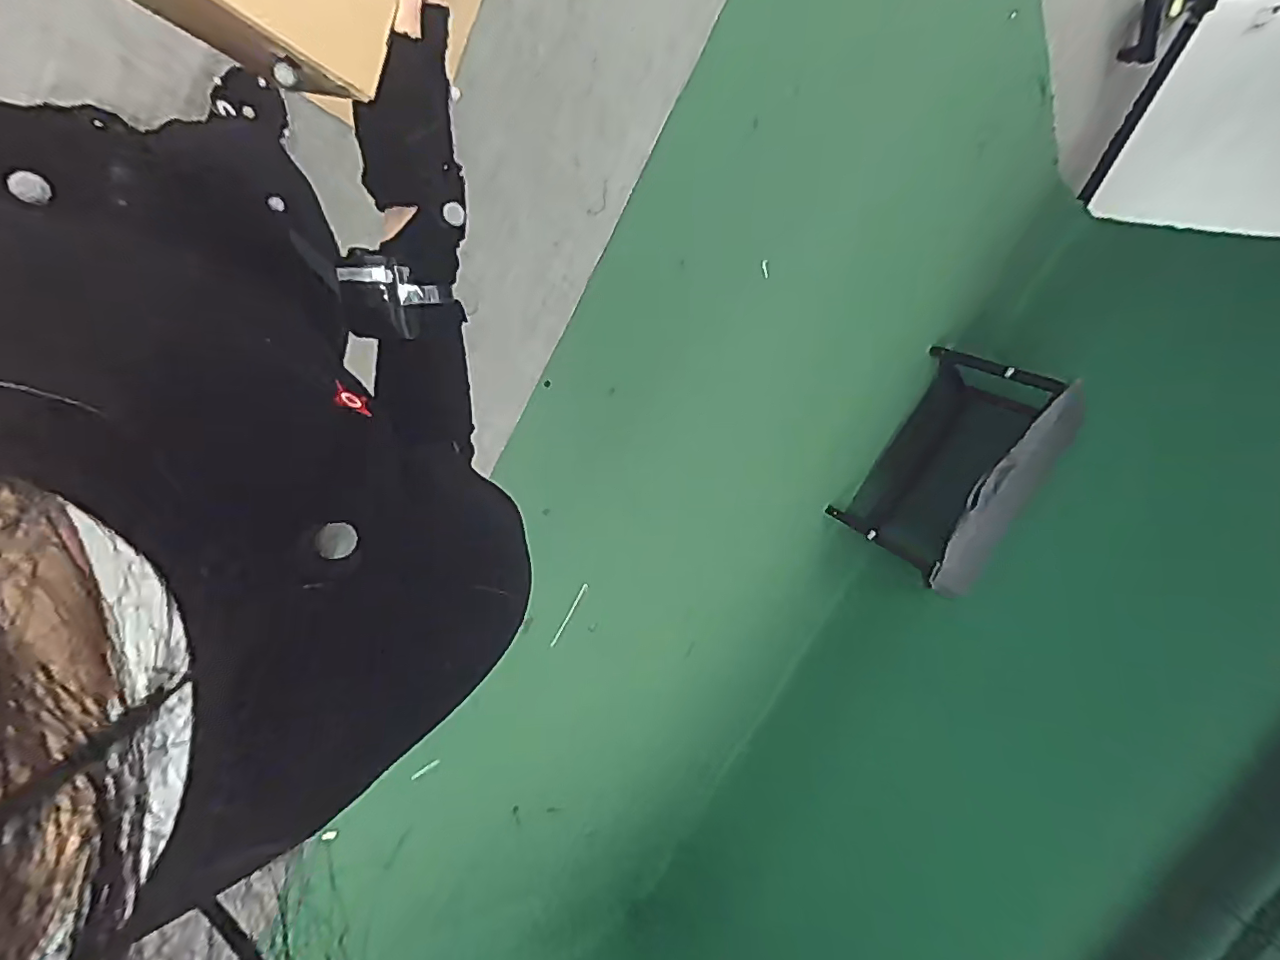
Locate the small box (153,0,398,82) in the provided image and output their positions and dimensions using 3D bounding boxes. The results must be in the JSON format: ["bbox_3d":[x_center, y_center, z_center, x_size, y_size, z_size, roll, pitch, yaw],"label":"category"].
[{"bbox_3d":[-0.243,-0.360,0.298,0.179,0.176,0.168,7,111,-54],"label":"small box"}]

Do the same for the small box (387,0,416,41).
[{"bbox_3d":[-0.503,-0.949,0.982,0.168,0.176,0.179,16,105,-45],"label":"small box"}]
